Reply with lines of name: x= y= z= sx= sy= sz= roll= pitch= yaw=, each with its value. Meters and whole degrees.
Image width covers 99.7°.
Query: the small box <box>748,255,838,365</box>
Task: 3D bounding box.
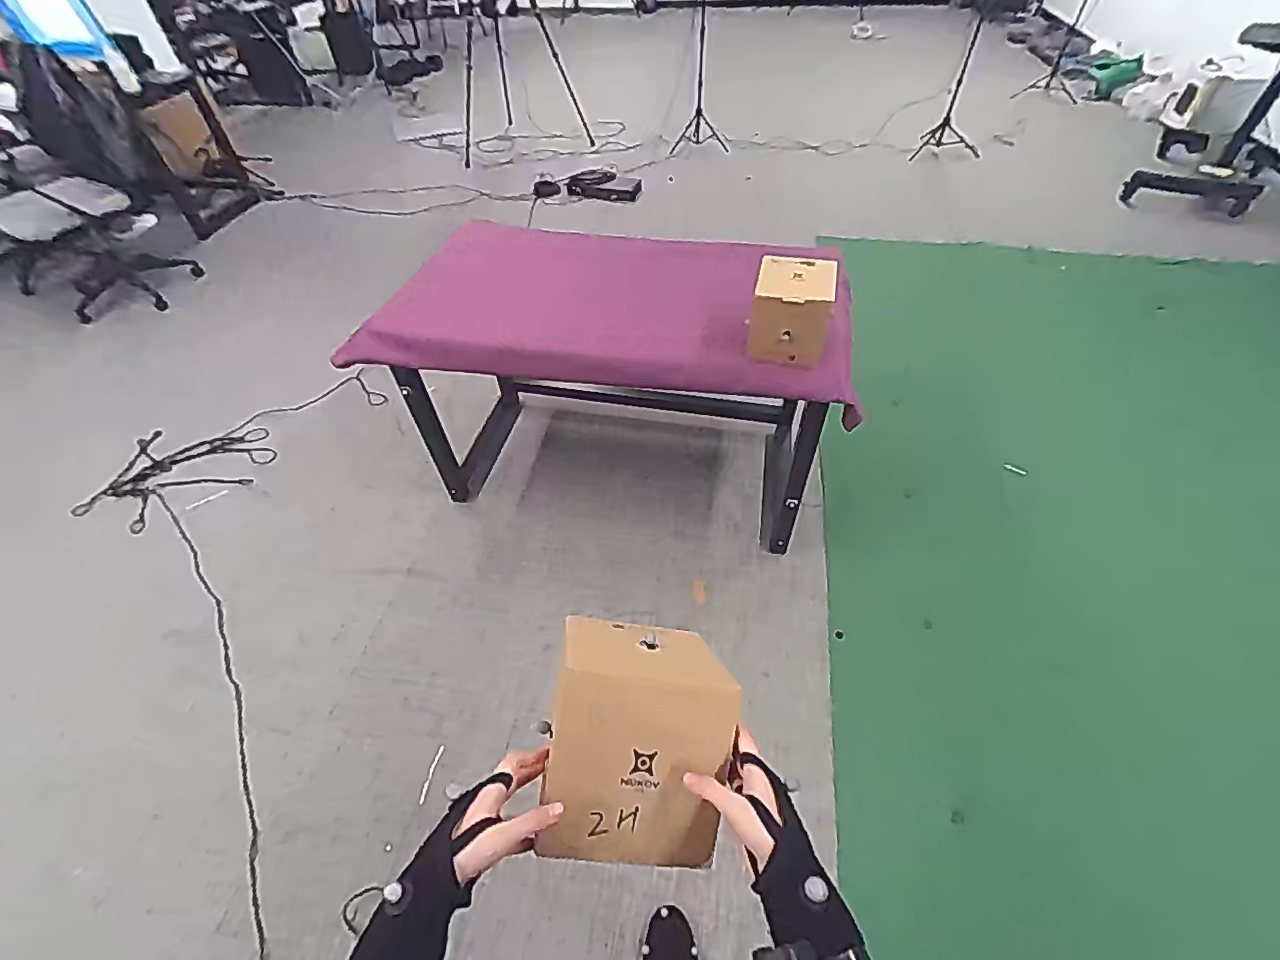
small box: x=0.343 y=-0.383 z=1.222 sx=0.168 sy=0.176 sz=0.179 roll=10 pitch=52 yaw=12

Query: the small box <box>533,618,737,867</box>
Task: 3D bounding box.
small box: x=-0.013 y=0.258 z=0.569 sx=0.168 sy=0.176 sz=0.179 roll=10 pitch=92 yaw=-7
